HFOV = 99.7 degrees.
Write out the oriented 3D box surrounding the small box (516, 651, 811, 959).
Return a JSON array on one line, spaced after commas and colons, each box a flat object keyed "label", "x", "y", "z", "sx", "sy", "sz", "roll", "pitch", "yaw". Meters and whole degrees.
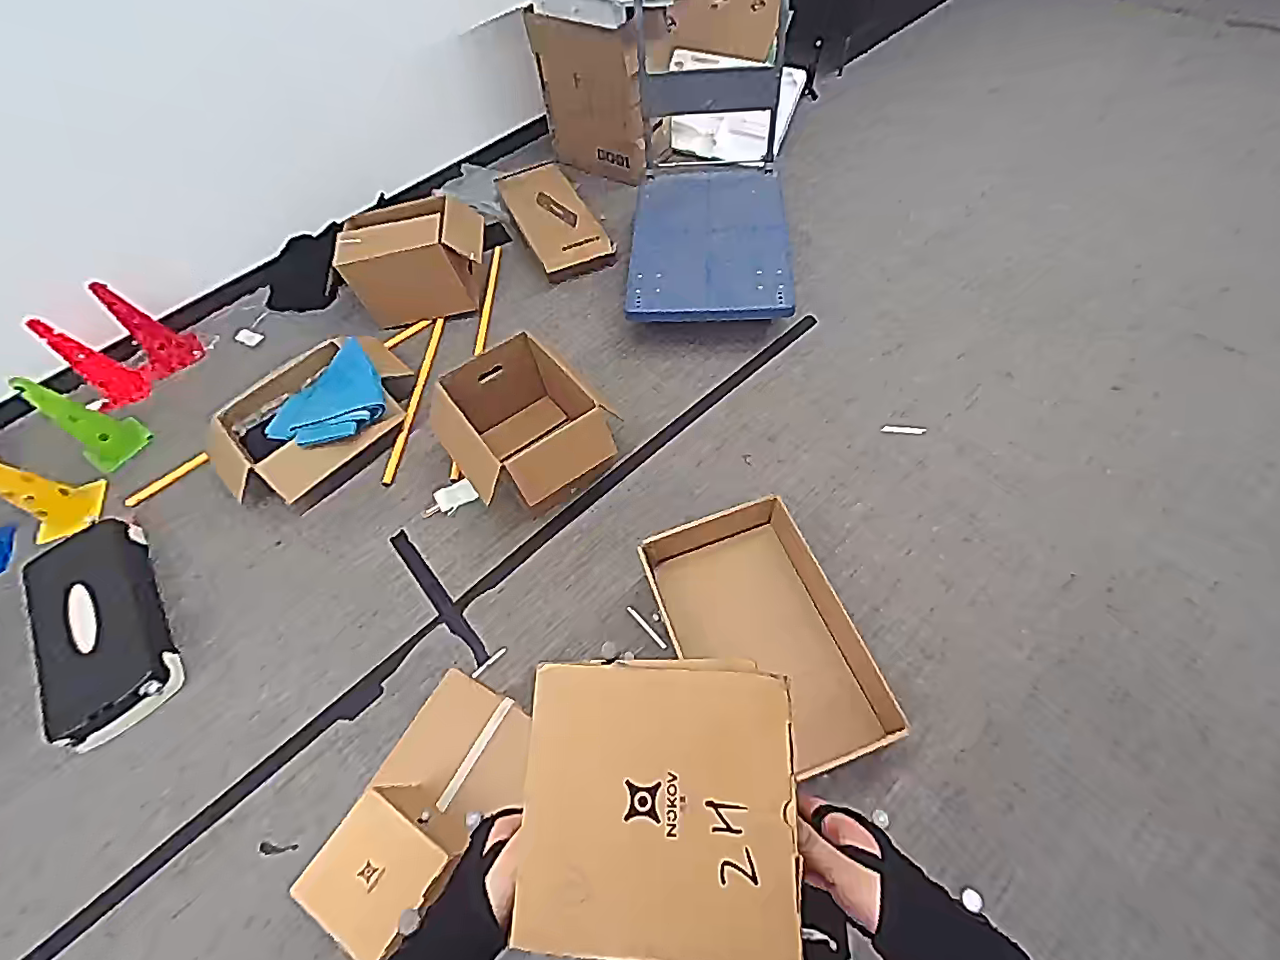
[{"label": "small box", "x": 0.025, "y": 0.225, "z": 0.414, "sx": 0.179, "sy": 0.176, "sz": 0.168, "roll": 0, "pitch": 71, "yaw": 7}]
